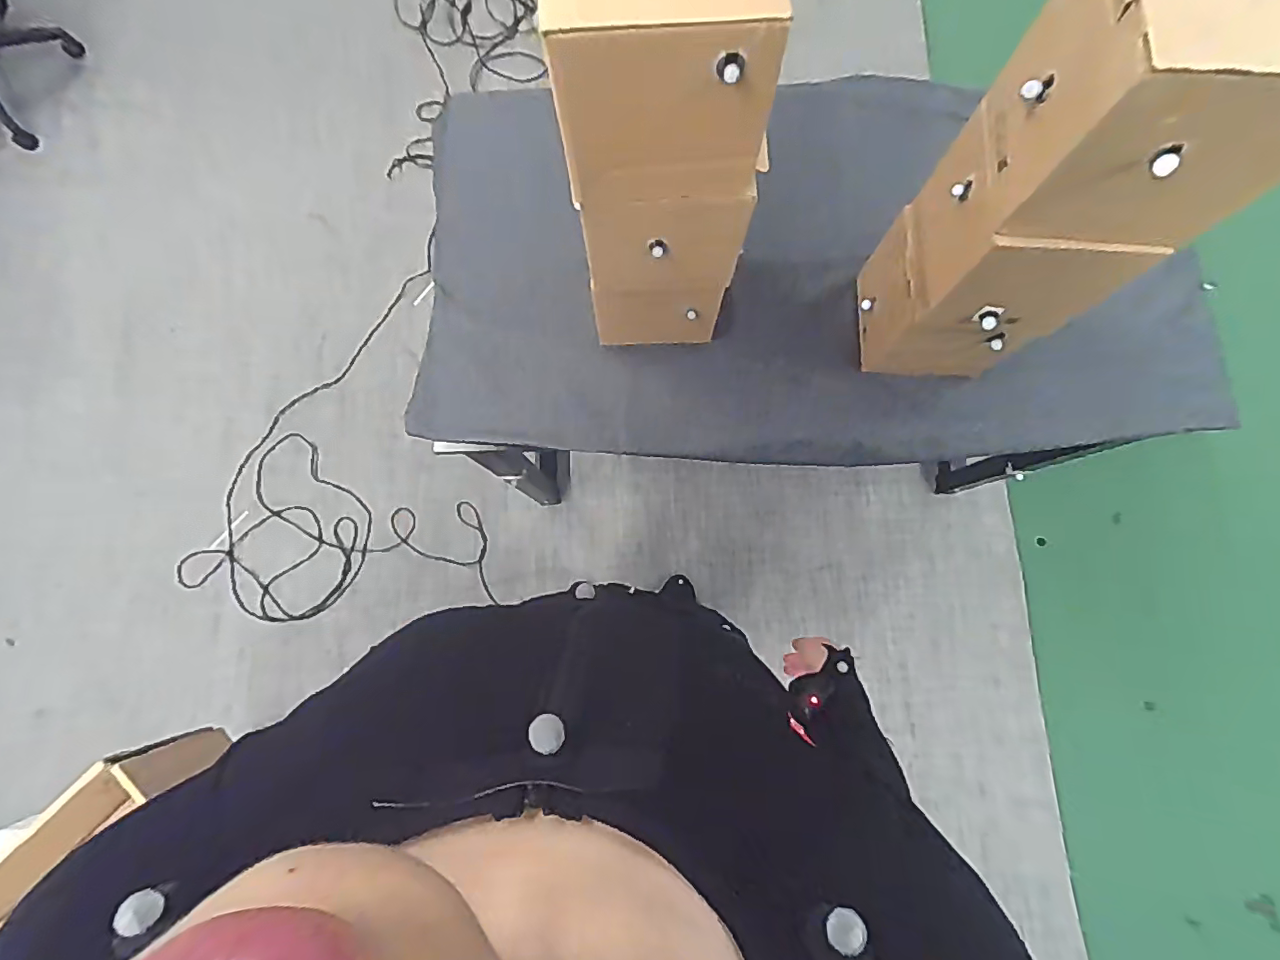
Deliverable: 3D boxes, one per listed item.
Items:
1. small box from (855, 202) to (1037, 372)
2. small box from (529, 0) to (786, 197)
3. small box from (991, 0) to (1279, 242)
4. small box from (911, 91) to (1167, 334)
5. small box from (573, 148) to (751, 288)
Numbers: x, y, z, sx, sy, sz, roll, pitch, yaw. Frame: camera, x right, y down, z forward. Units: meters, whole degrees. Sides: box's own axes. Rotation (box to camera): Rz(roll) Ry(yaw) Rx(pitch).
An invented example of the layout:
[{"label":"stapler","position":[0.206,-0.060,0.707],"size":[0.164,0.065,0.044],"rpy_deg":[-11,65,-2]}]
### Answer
[{"label":"small box","position":[0.423,-0.260,0.761],"size":[0.179,0.176,0.168],"rpy_deg":[2,78,2]},{"label":"small box","position":[0.009,-0.367,0.456],"size":[0.179,0.176,0.168],"rpy_deg":[-4,79,-1]},{"label":"small box","position":[0.417,-0.318,0.441],"size":[0.179,0.176,0.168],"rpy_deg":[5,79,4]},{"label":"small box","position":[0.419,-0.284,0.601],"size":[0.168,0.176,0.179],"rpy_deg":[4,80,3]},{"label":"small box","position":[0.020,-0.336,0.616],"size":[0.179,0.176,0.168],"rpy_deg":[-2,79,1]}]
